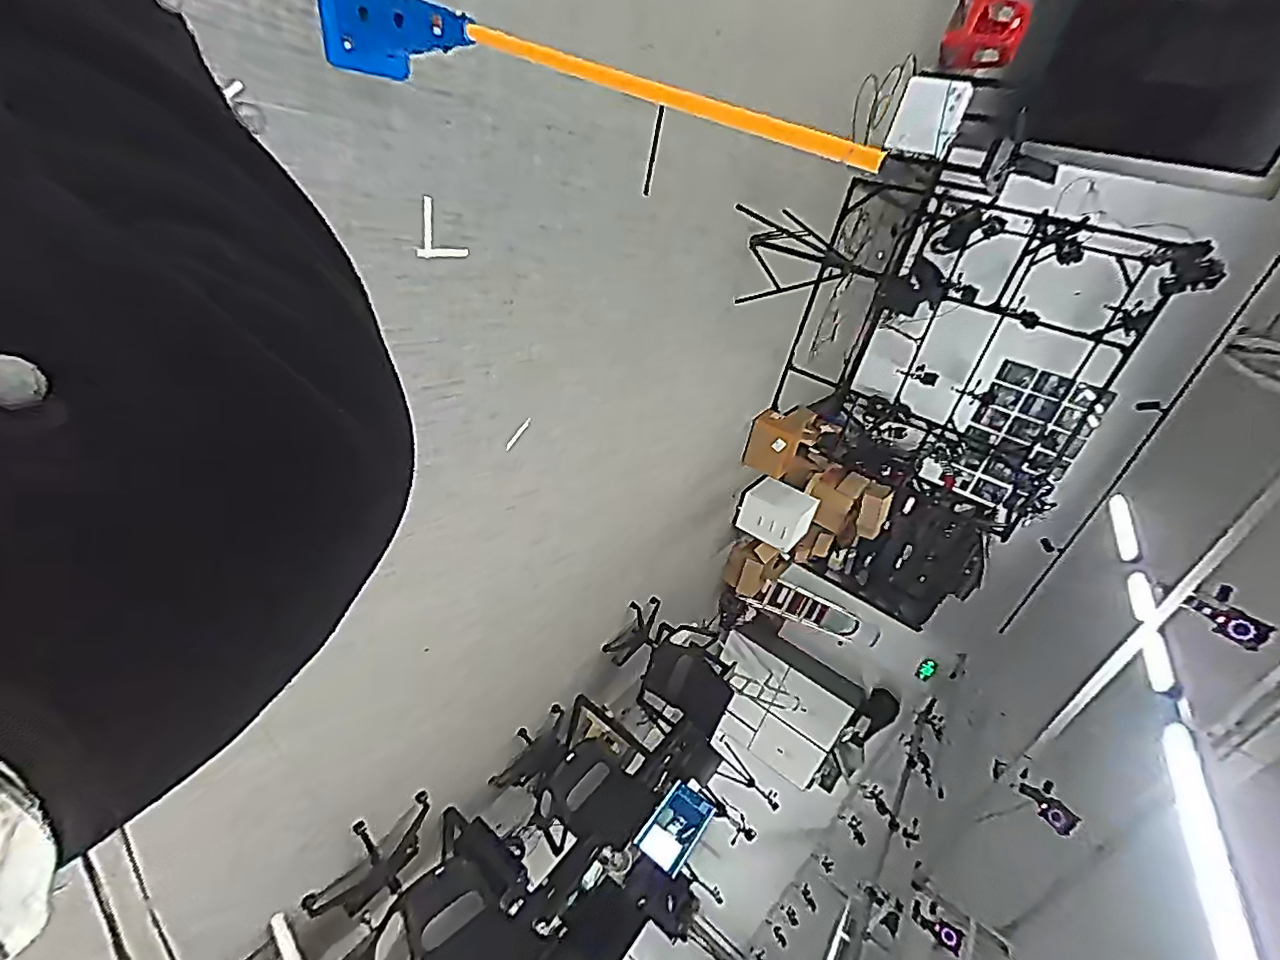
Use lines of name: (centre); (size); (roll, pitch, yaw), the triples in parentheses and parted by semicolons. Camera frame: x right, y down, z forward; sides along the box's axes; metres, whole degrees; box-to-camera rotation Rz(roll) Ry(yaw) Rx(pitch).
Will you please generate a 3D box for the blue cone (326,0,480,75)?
blue cone: (-0.464, -0.942, 1.111); (0.193, 0.380, 0.192); (-30, 140, -47)
